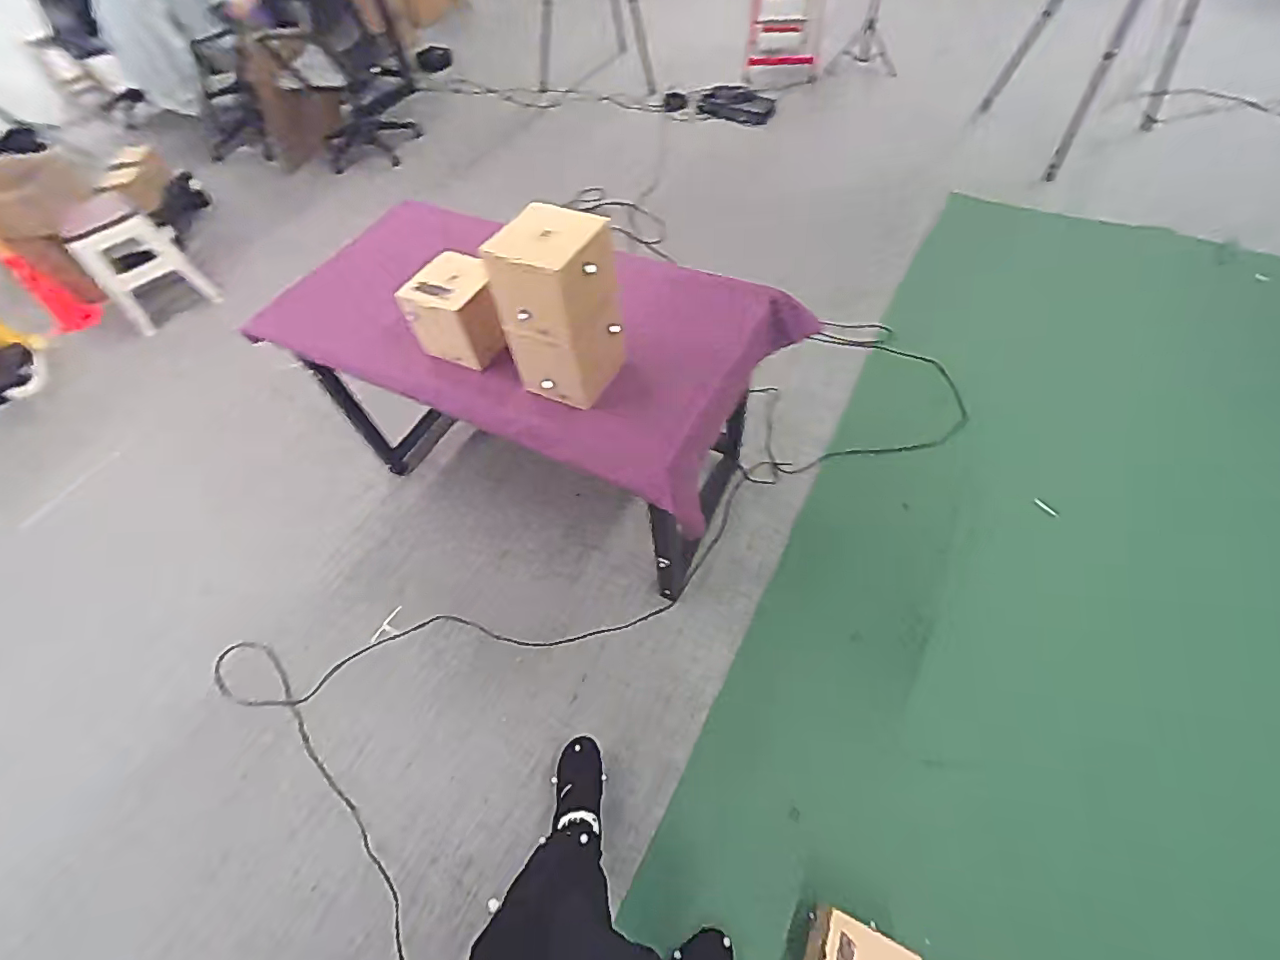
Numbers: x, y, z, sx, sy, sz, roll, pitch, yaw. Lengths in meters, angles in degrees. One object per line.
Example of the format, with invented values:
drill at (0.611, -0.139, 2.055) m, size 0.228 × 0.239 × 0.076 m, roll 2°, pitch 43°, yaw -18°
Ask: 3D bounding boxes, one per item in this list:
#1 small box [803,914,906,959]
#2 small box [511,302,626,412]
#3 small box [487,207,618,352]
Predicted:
small box at (0.428, 1.013, 1.088) m, size 0.179 × 0.176 × 0.168 m, roll 21°, pitch 60°, yaw 18°
small box at (-0.140, -0.277, 1.143) m, size 0.168 × 0.176 × 0.179 m, roll 22°, pitch 59°, yaw 20°
small box at (-0.151, -0.373, 1.012) m, size 0.168 × 0.176 × 0.179 m, roll 22°, pitch 60°, yaw 19°
